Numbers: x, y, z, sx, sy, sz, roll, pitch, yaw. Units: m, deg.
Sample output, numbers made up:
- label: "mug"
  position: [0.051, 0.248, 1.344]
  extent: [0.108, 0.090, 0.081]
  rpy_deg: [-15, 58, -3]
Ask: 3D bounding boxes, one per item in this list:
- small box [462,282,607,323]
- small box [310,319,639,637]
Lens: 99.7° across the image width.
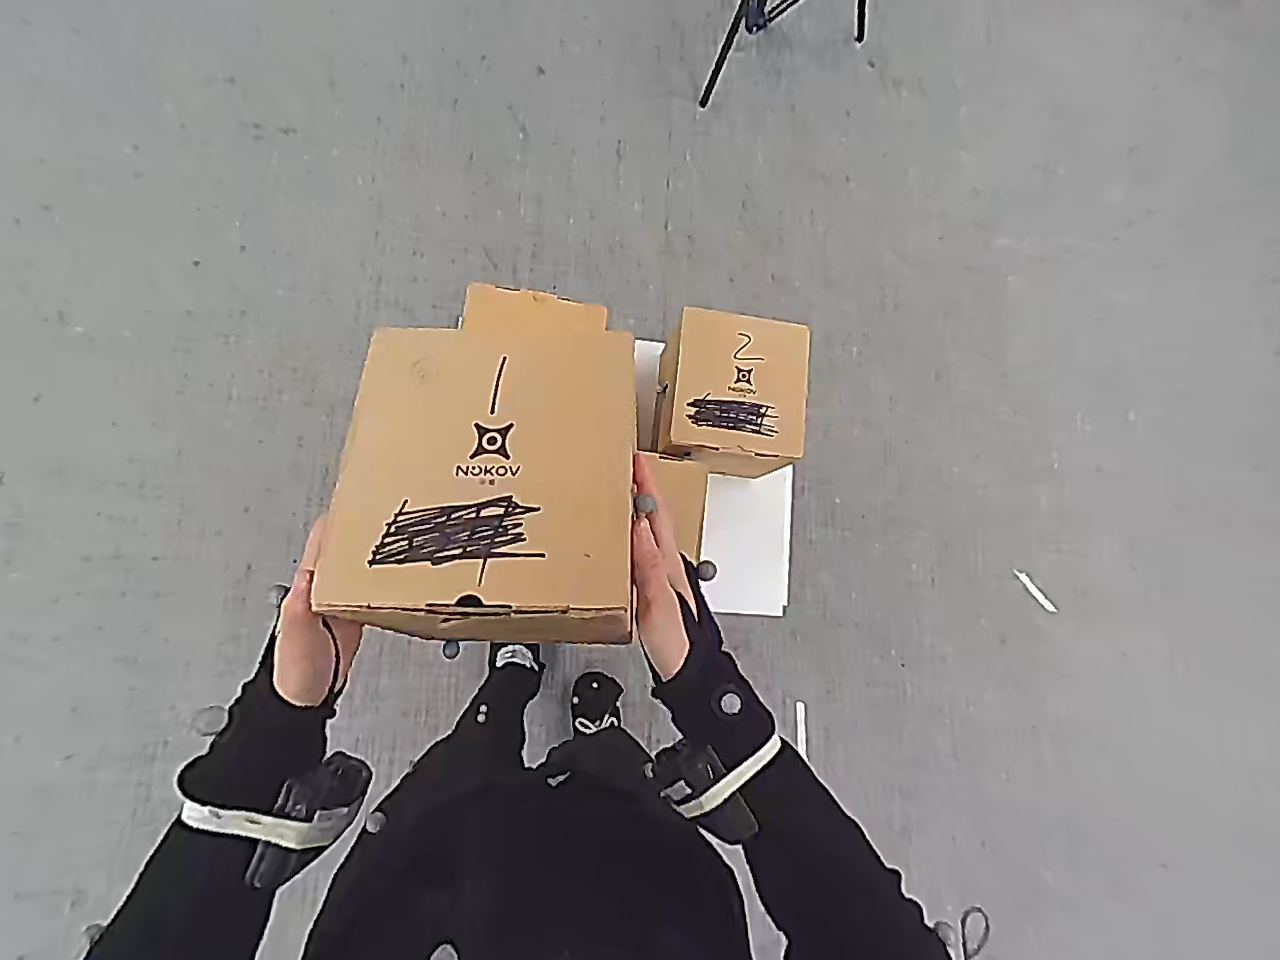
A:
- label: "small box"
  position: [-0.140, -0.123, 0.700]
  extent: [0.168, 0.176, 0.179]
  rpy_deg: [8, 81, -7]
- label: "small box"
  position: [-0.086, 0.012, 0.379]
  extent: [0.168, 0.176, 0.179]
  rpy_deg: [1, 67, 0]
